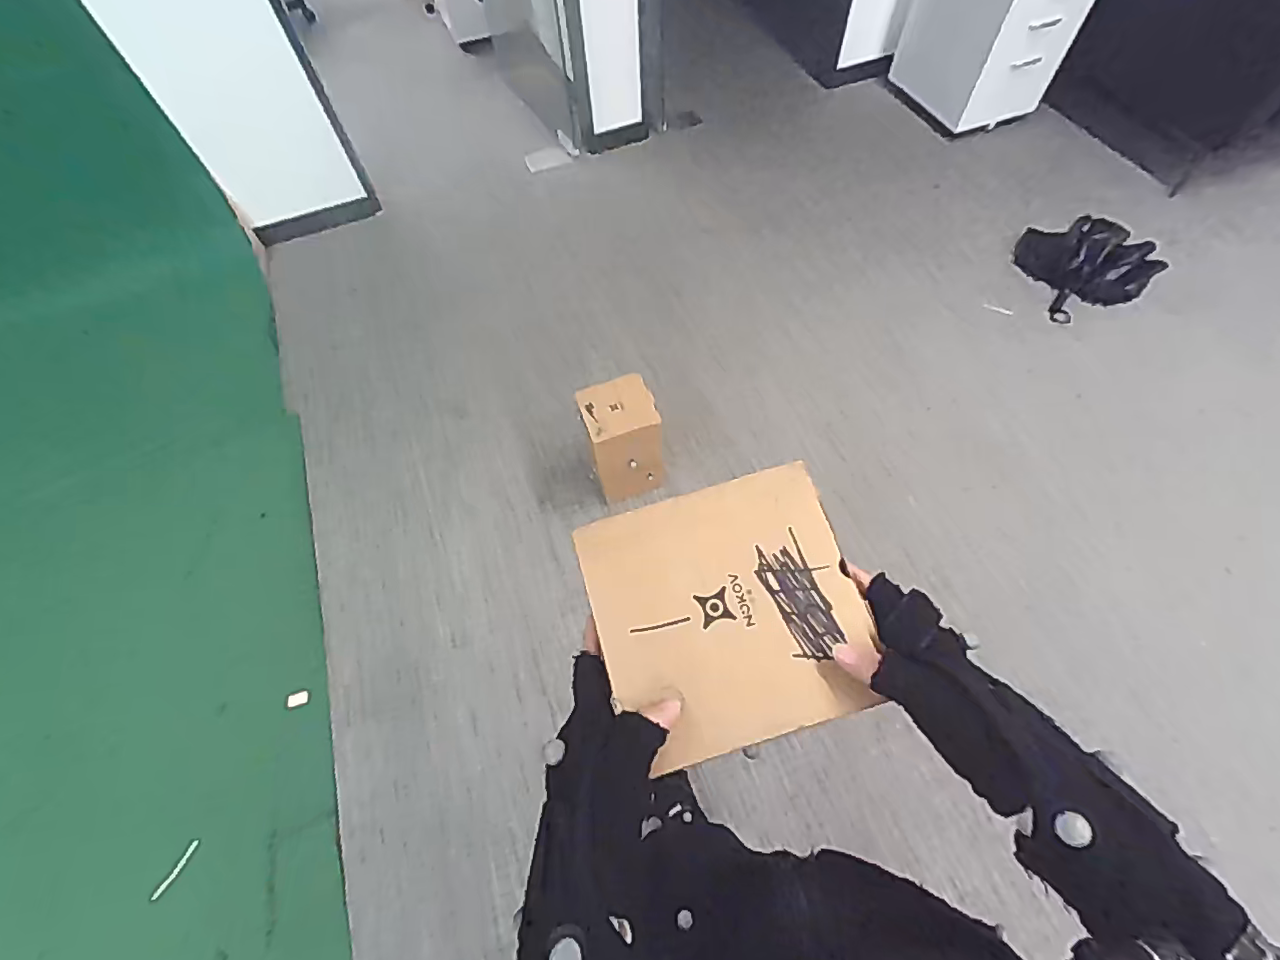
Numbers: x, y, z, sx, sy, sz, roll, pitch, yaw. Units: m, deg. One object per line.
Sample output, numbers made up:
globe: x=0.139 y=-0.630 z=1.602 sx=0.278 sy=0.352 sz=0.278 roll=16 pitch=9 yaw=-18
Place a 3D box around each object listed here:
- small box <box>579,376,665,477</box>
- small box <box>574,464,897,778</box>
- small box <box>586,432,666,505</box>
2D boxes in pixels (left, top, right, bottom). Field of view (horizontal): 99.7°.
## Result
small box: x=-0.044 y=-0.132 z=1.378 sx=0.179 sy=0.176 sz=0.168 roll=-17 pitch=61 yaw=-7
small box: x=0.060 y=0.112 z=0.437 sx=0.179 sy=0.176 sz=0.168 roll=-19 pitch=69 yaw=-5
small box: x=-0.037 y=-0.057 z=1.524 sx=0.179 sy=0.176 sz=0.168 roll=-22 pitch=61 yaw=-7
